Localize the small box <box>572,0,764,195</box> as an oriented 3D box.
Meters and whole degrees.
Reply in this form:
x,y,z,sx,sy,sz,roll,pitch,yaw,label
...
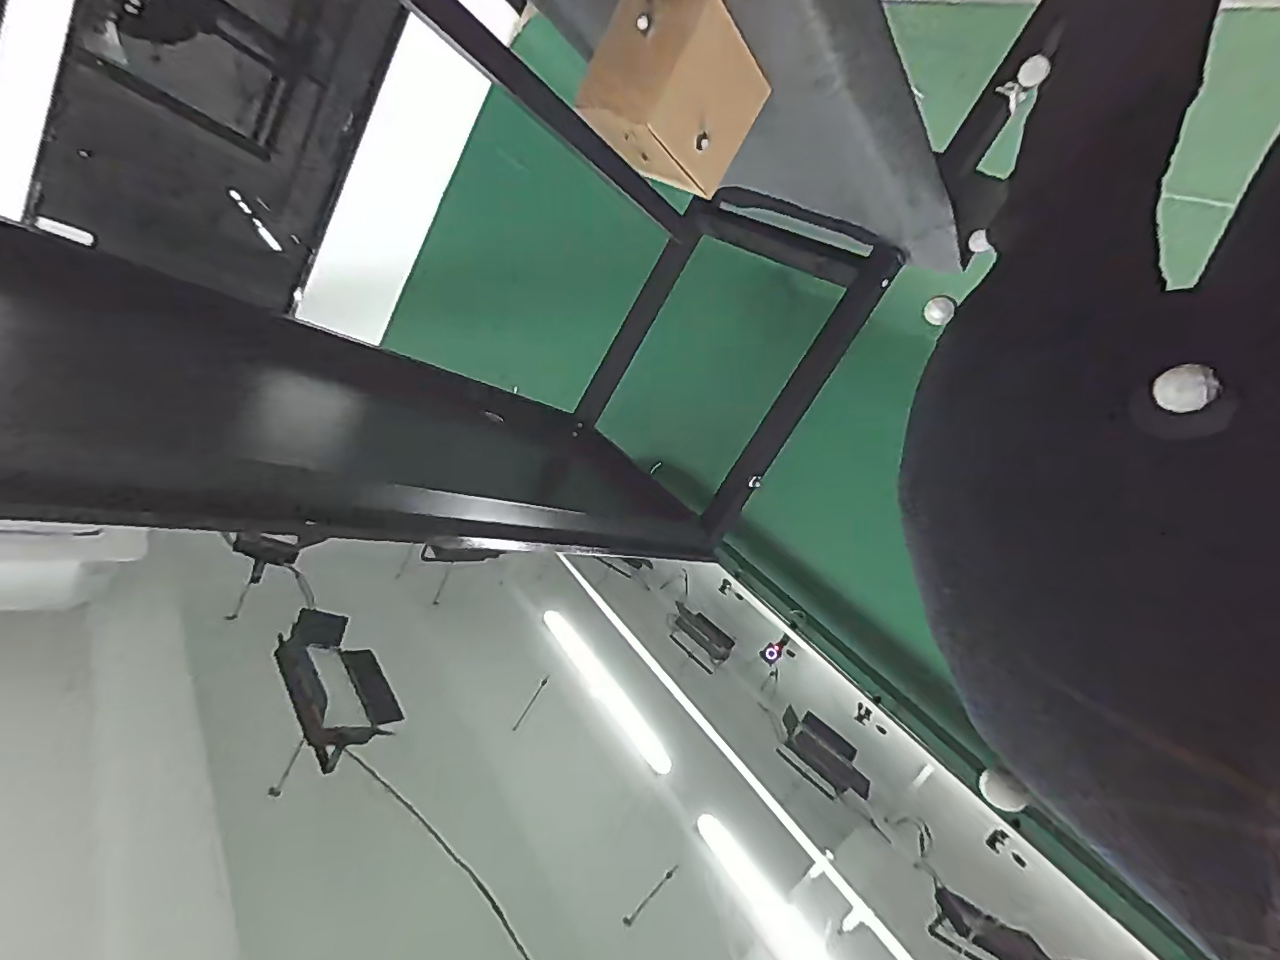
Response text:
x,y,z,sx,sy,sz,roll,pitch,yaw,label
0.045,-0.546,0.762,0.168,0.176,0.179,40,-164,33,small box
